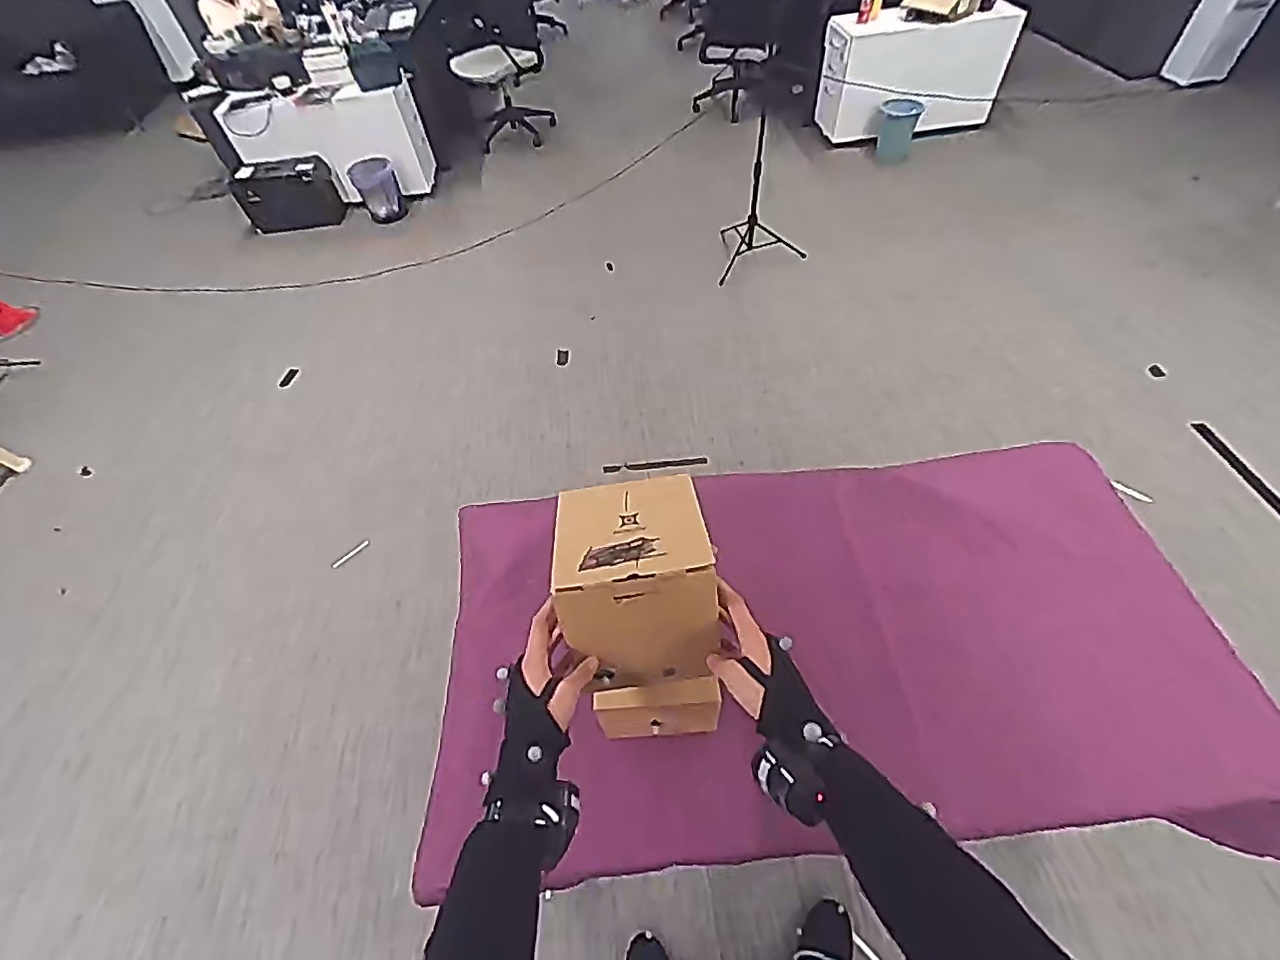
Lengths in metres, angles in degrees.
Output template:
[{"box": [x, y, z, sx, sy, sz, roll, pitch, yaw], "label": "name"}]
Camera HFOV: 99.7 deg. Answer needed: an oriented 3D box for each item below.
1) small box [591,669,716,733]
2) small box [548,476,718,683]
[{"box": [0.021, 0.269, 0.804, 0.168, 0.176, 0.179, -4, 53, 1], "label": "small box"}, {"box": [-0.005, 0.121, 0.642, 0.168, 0.176, 0.179, -8, 33, 0], "label": "small box"}]
